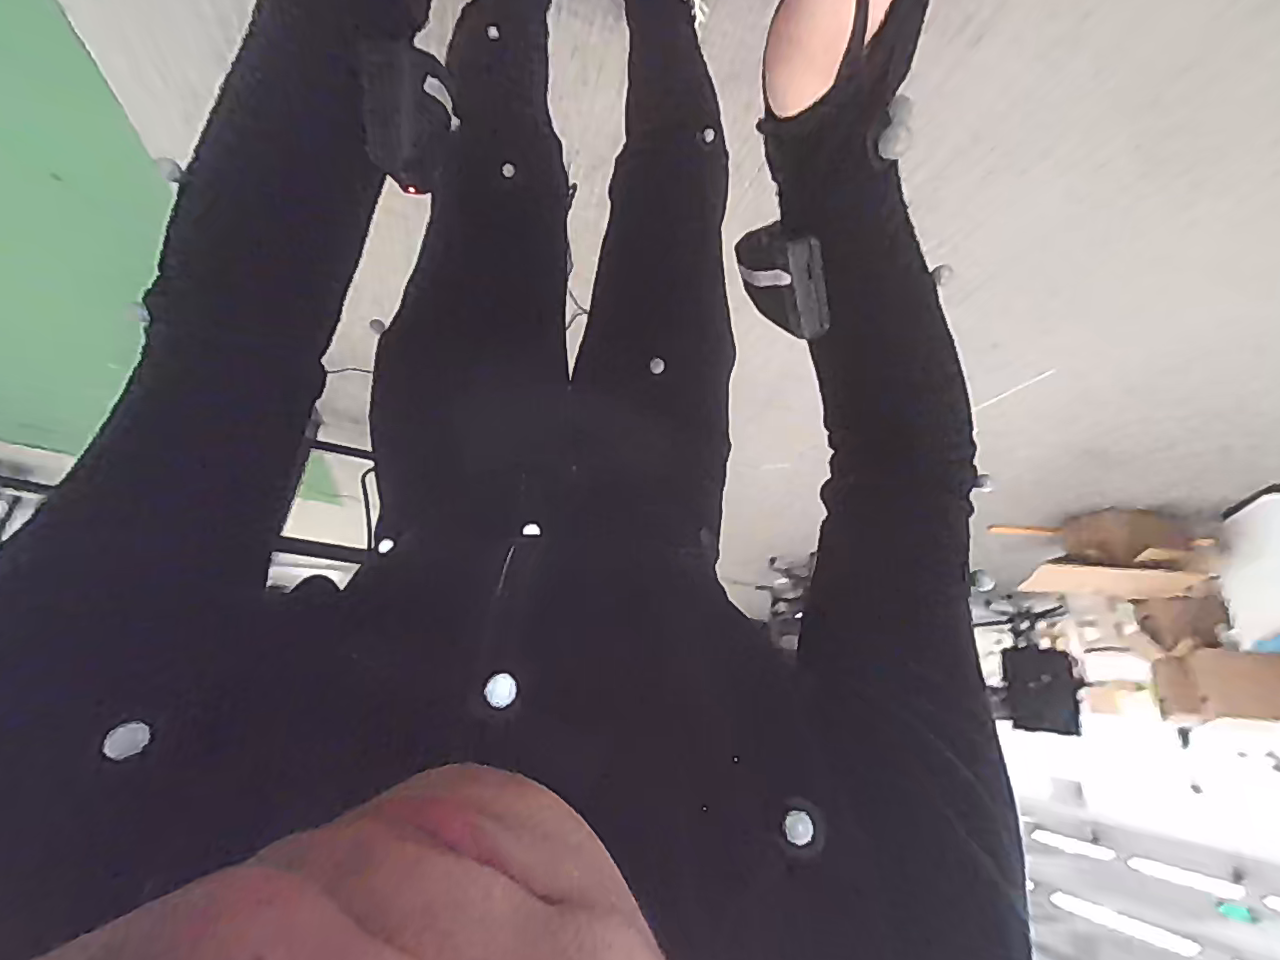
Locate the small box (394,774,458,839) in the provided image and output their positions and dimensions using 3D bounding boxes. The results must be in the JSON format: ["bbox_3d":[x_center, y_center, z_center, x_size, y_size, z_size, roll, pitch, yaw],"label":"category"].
[{"bbox_3d":[-0.786,1.200,1.999,0.179,0.176,0.168,13,160,-11],"label":"small box"}]
